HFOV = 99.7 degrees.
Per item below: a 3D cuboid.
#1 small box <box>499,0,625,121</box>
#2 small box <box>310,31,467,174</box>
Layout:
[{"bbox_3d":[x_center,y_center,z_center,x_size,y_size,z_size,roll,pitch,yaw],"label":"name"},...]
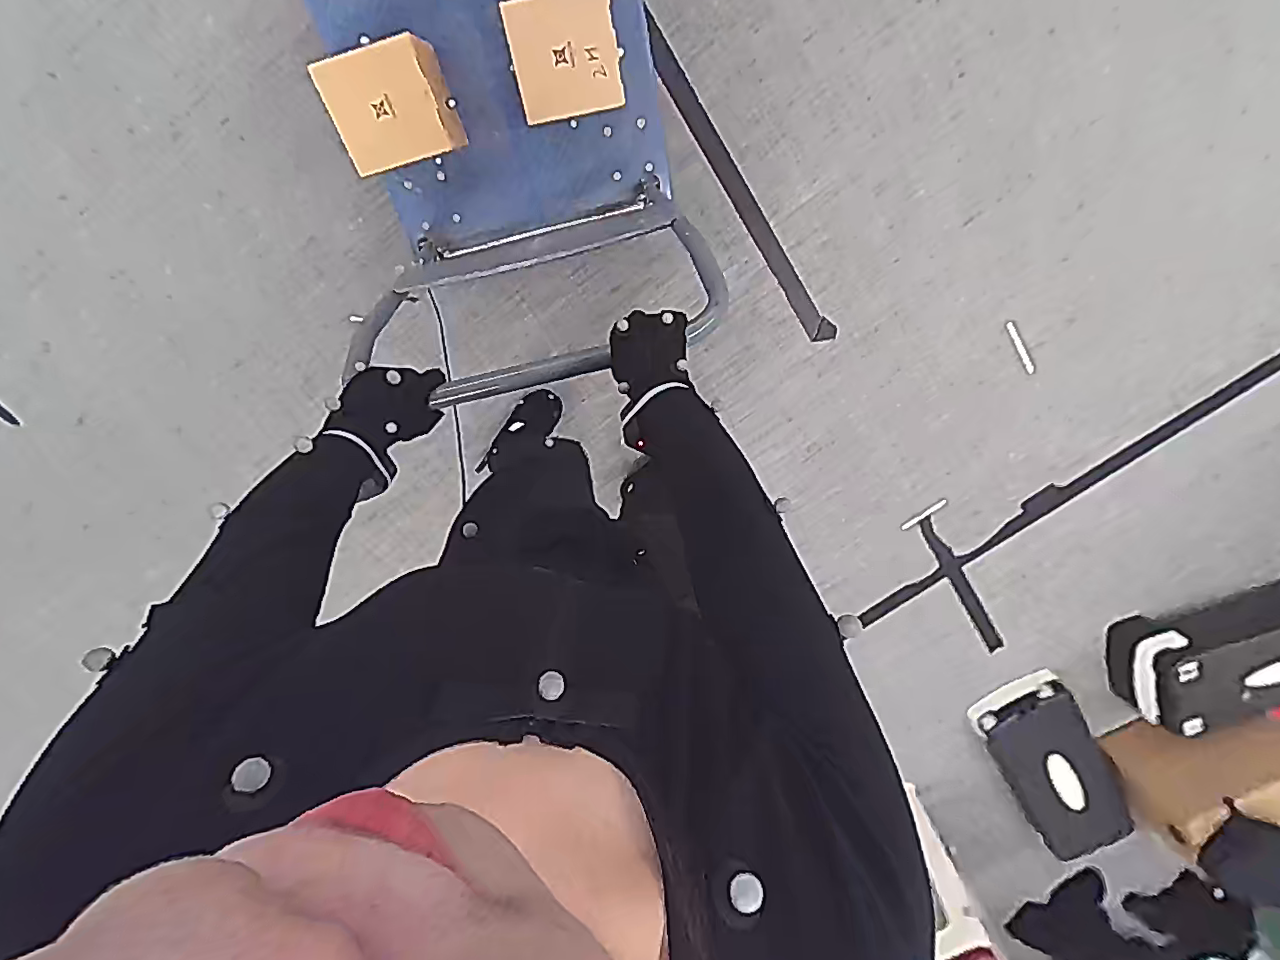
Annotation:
[{"bbox_3d":[-0.128,-0.741,0.949,0.179,0.176,0.168,-11,124,2],"label":"small box"},{"bbox_3d":[-0.434,-0.666,0.969,0.179,0.176,0.168,-16,124,4],"label":"small box"}]
